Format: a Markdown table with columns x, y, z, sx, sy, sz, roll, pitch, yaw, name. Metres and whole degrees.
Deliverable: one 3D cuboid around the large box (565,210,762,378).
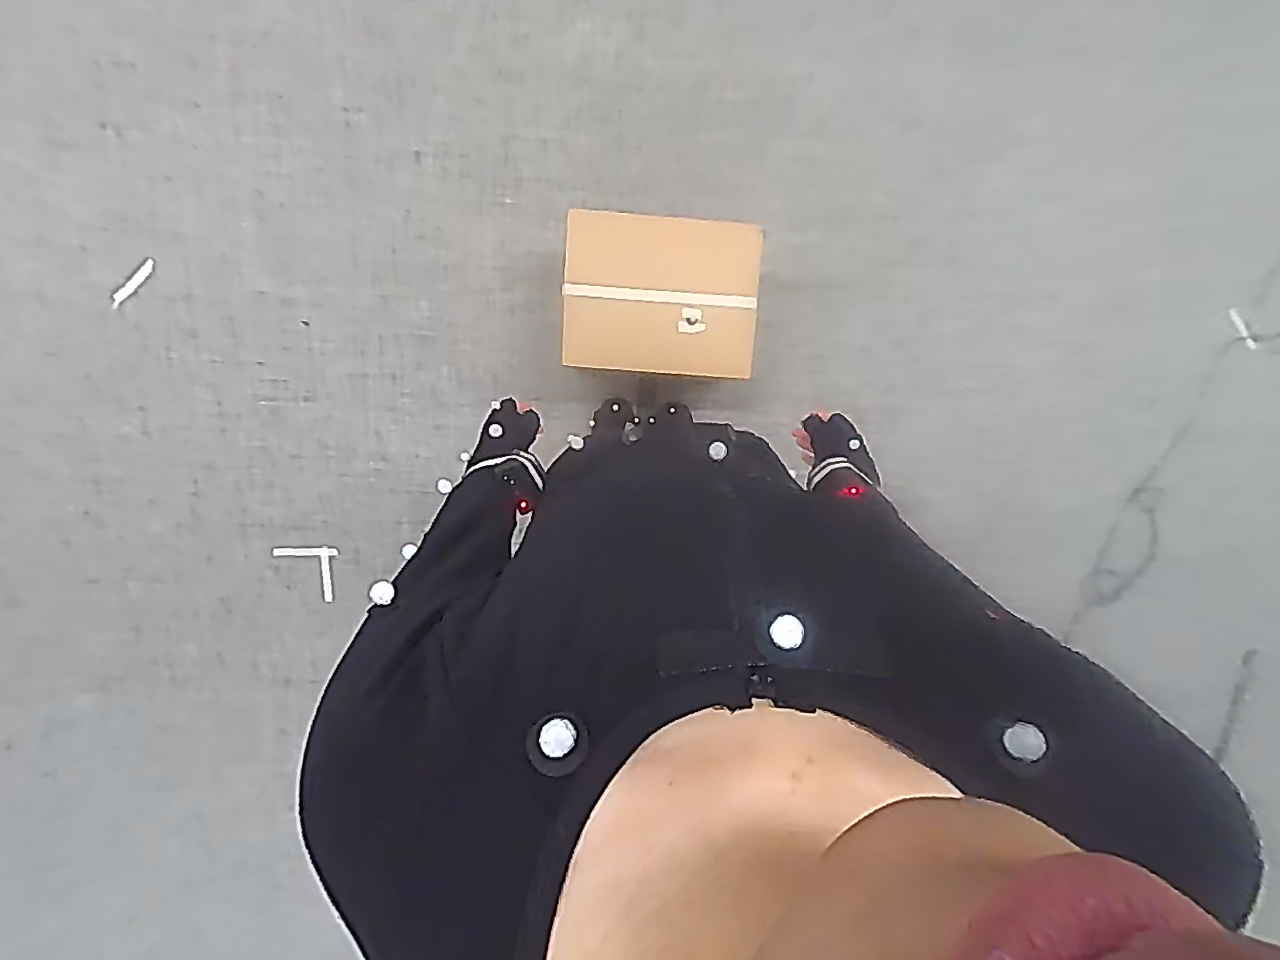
| x | y | z | sx | sy | sz | roll | pitch | yaw | name |
| --- | --- | --- | --- | --- | --- | --- | --- | --- | --- |
| 0.038 | -0.408 | 1.267 | 0.408 | 0.320 | 0.320 | 3 | 100 | -4 | large box |
